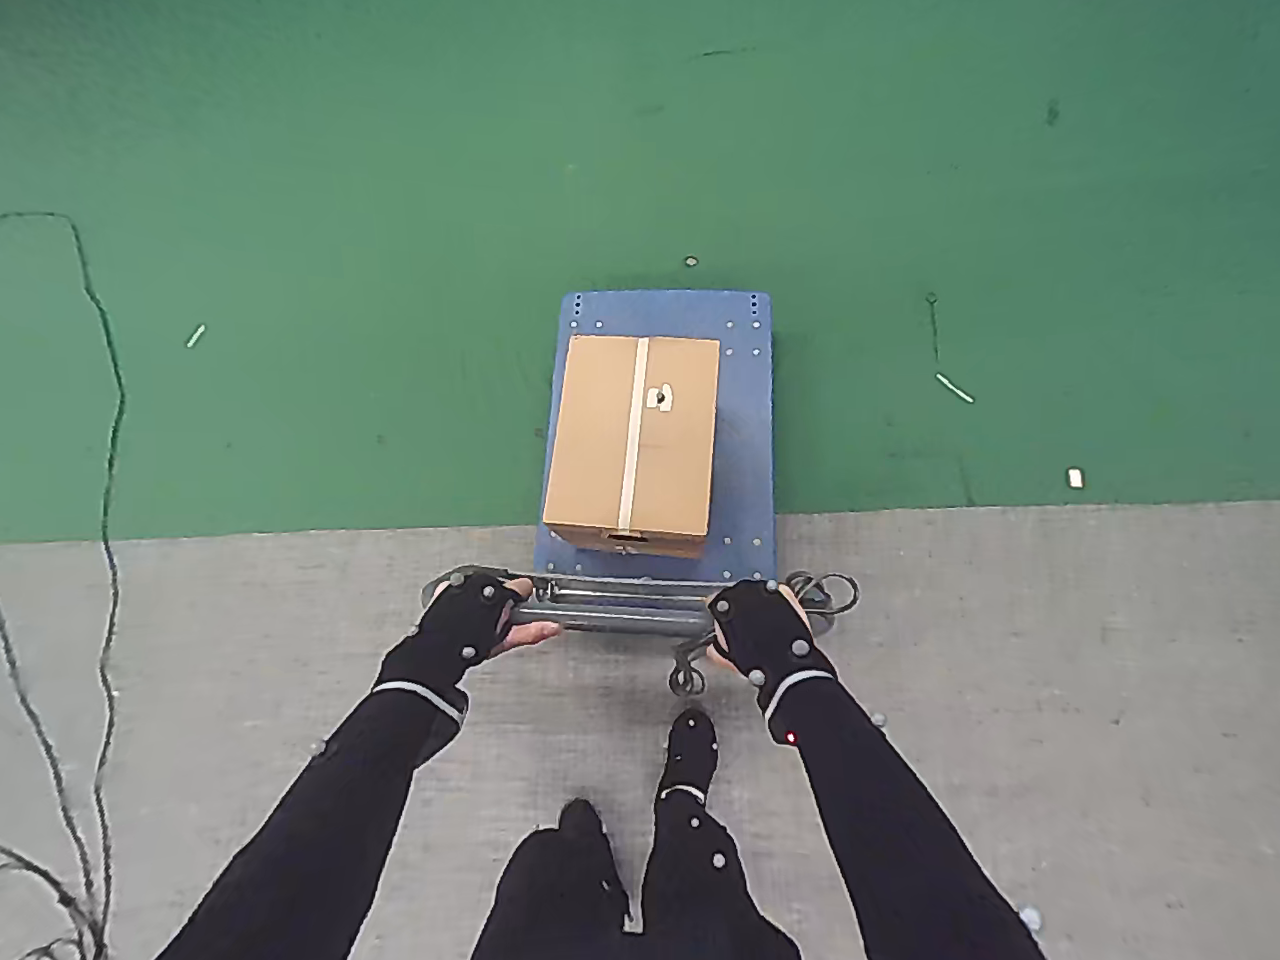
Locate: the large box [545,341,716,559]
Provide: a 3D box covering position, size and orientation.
[{"bbox_3d":[0.001,-0.050,1.206,0.320,0.320,0.408,4,74,6],"label":"large box"}]
